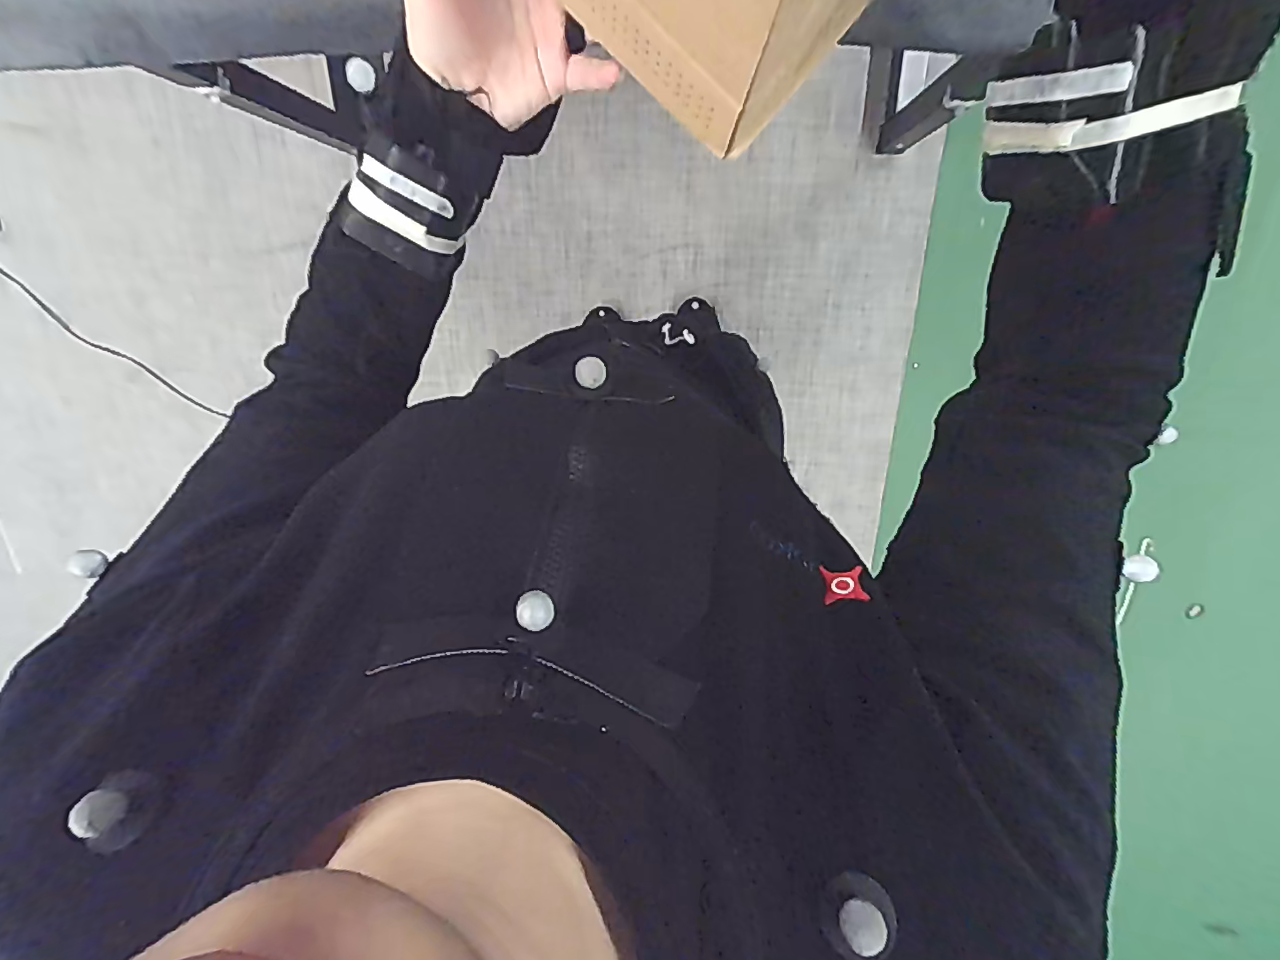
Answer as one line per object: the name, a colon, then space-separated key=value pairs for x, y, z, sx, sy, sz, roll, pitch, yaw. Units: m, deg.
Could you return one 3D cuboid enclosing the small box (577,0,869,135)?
small box: x=0.033 y=-0.262 z=0.169 sx=0.179 sy=0.176 sz=0.168 roll=41 pitch=94 yaw=-5
